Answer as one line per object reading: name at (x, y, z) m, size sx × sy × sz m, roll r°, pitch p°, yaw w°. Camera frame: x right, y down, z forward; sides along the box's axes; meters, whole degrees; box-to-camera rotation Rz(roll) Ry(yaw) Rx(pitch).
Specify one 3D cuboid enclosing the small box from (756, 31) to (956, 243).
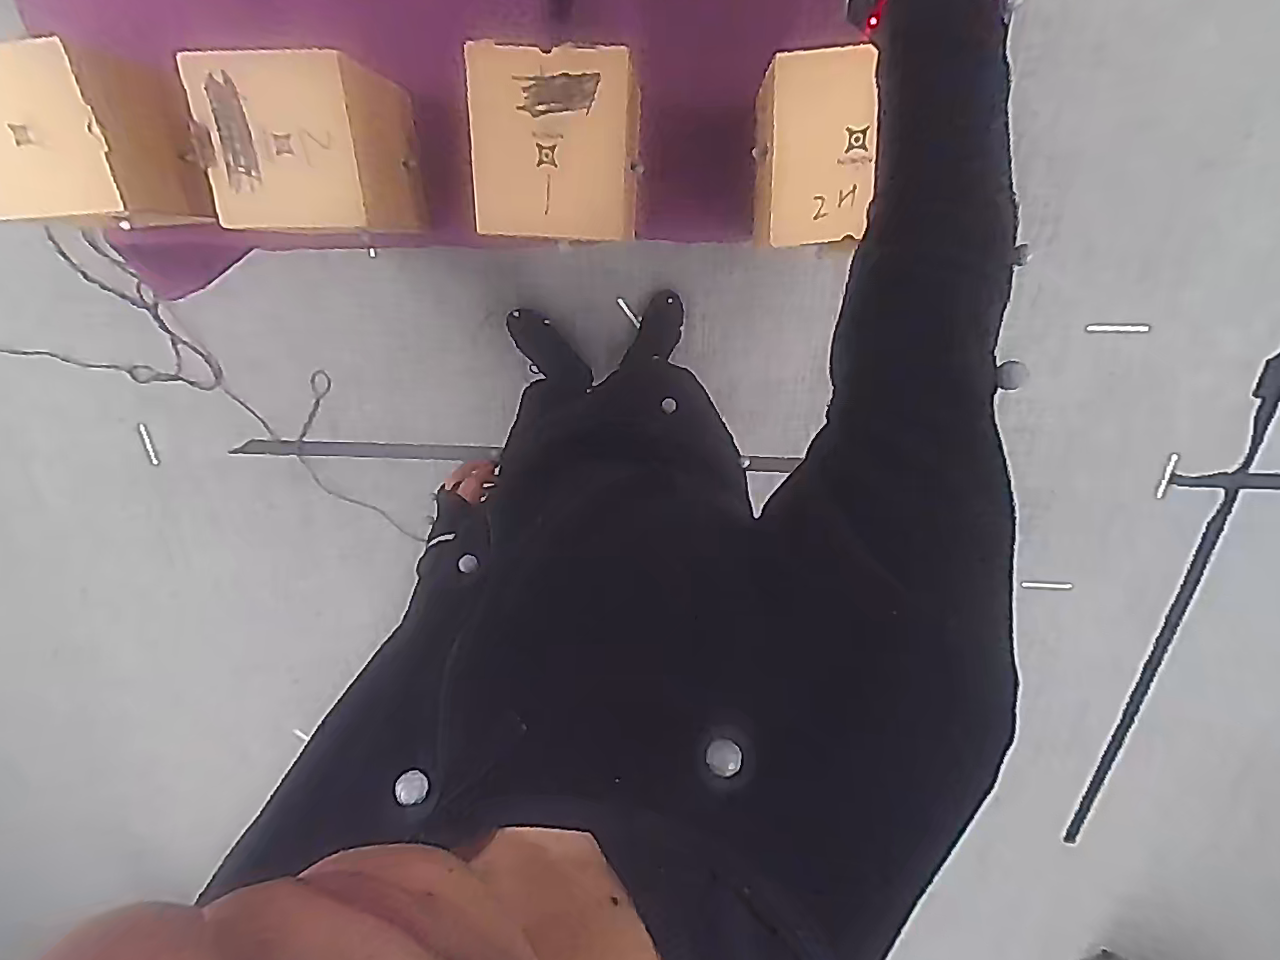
small box at (0.225, -0.369, 0.616) m, size 0.168 × 0.176 × 0.179 m, roll 0°, pitch 114°, yaw 6°

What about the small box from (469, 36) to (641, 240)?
small box at (-0.088, -0.383, 0.636) m, size 0.168 × 0.176 × 0.179 m, roll 4°, pitch 114°, yaw 3°

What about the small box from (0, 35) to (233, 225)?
small box at (-0.667, -0.414, 0.669) m, size 0.179 × 0.176 × 0.168 m, roll -2°, pitch 113°, yaw 4°
